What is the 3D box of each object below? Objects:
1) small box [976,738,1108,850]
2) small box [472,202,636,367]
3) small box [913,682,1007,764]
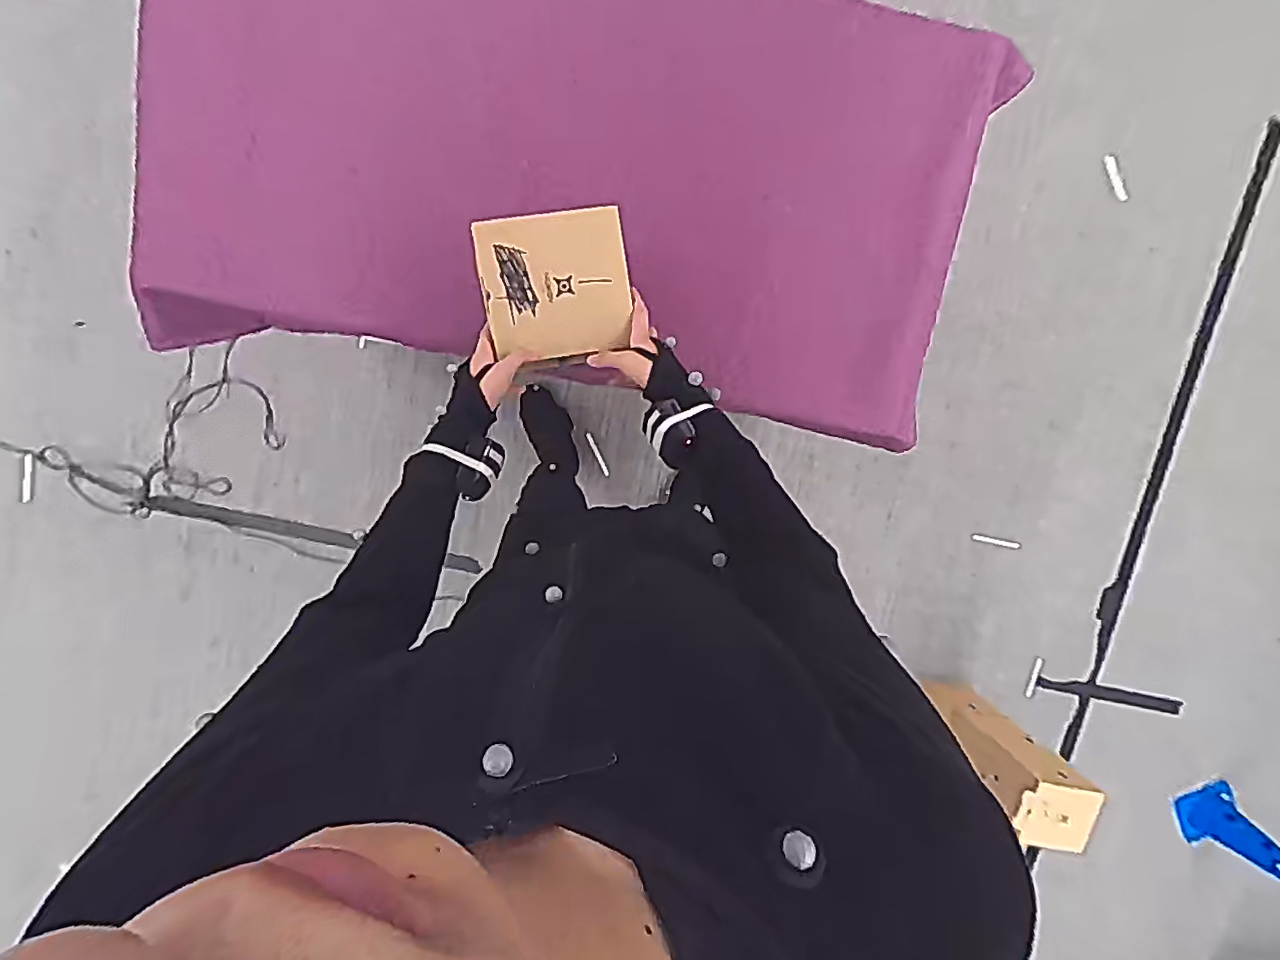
[{"bbox_3d":[0.999,0.779,1.357,0.179,0.176,0.168,13,99,-4],"label":"small box"},{"bbox_3d":[-0.103,-0.247,0.724,0.179,0.176,0.168,-9,100,-1],"label":"small box"},{"bbox_3d":[0.989,0.752,1.688,0.179,0.176,0.168,8,99,-4],"label":"small box"}]
